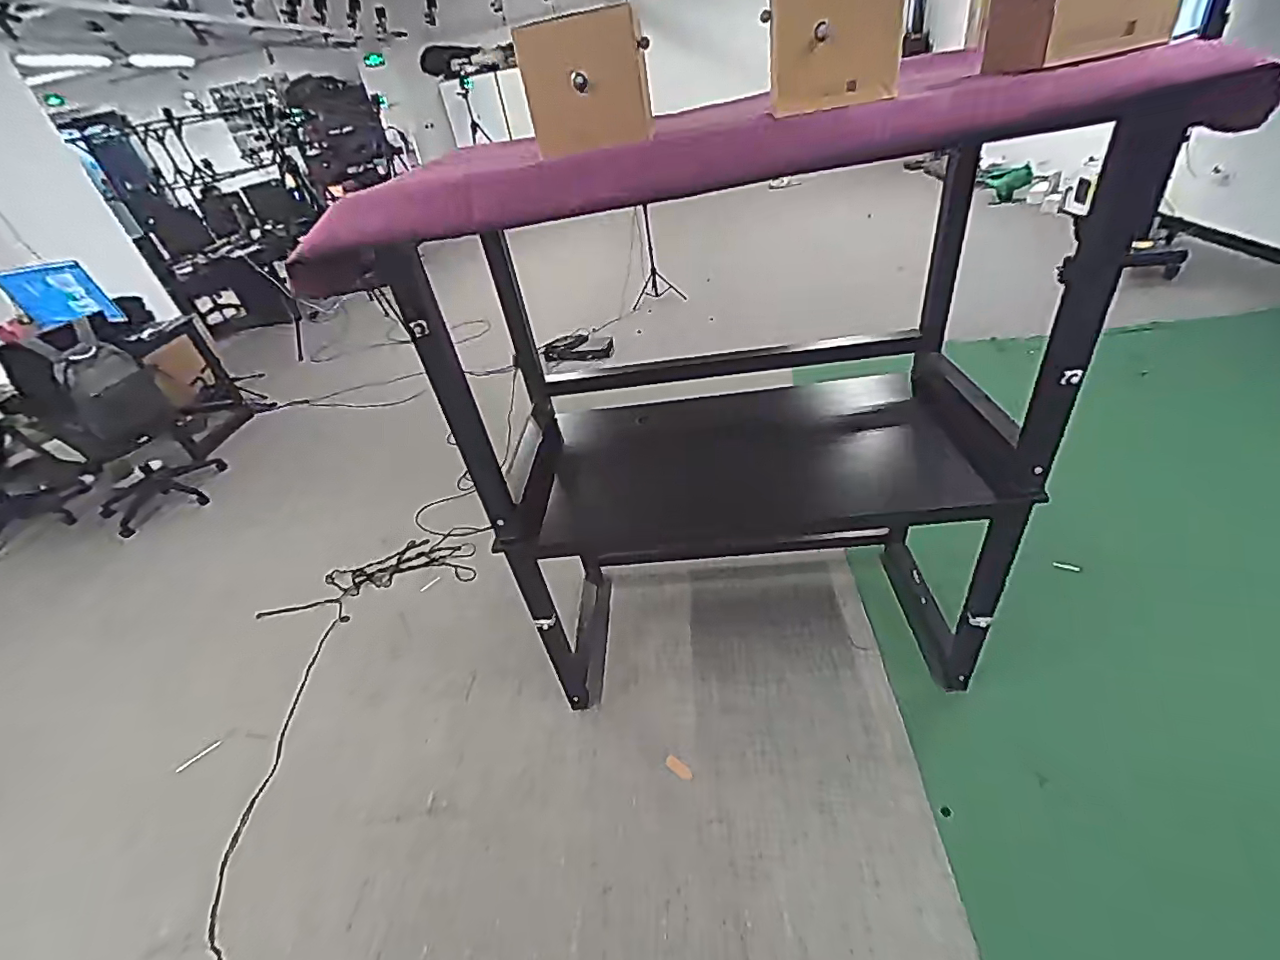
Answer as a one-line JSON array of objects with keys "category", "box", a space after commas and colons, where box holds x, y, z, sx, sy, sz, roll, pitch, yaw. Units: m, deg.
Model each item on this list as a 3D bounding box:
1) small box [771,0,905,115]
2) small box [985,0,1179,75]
[{"category": "small box", "box": [0.283, -0.648, 0.794, 0.168, 0.176, 0.179, -2, 35, 12]}, {"category": "small box", "box": [0.621, -0.688, 0.757, 0.168, 0.176, 0.179, -7, 34, 6]}]
